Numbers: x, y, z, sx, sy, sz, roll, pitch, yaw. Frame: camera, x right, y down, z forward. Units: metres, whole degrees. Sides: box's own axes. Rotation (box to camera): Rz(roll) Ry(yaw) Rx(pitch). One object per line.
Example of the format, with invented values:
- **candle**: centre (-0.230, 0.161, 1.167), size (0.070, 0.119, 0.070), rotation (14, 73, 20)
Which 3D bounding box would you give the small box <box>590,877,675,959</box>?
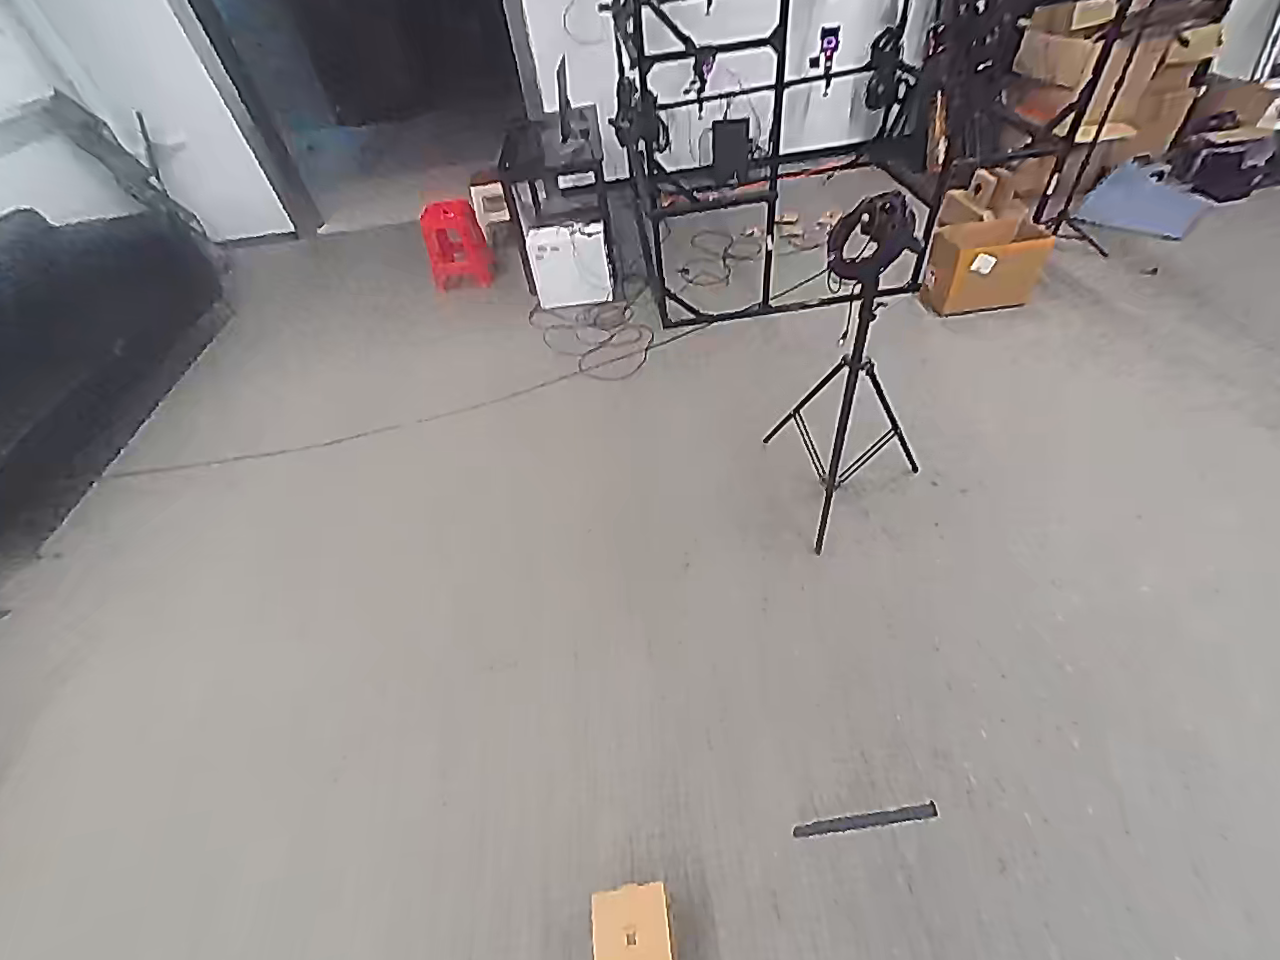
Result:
- **small box**: centre (-0.016, 1.008, 1.194), size (0.168, 0.176, 0.179), rotation (-10, 45, 1)
